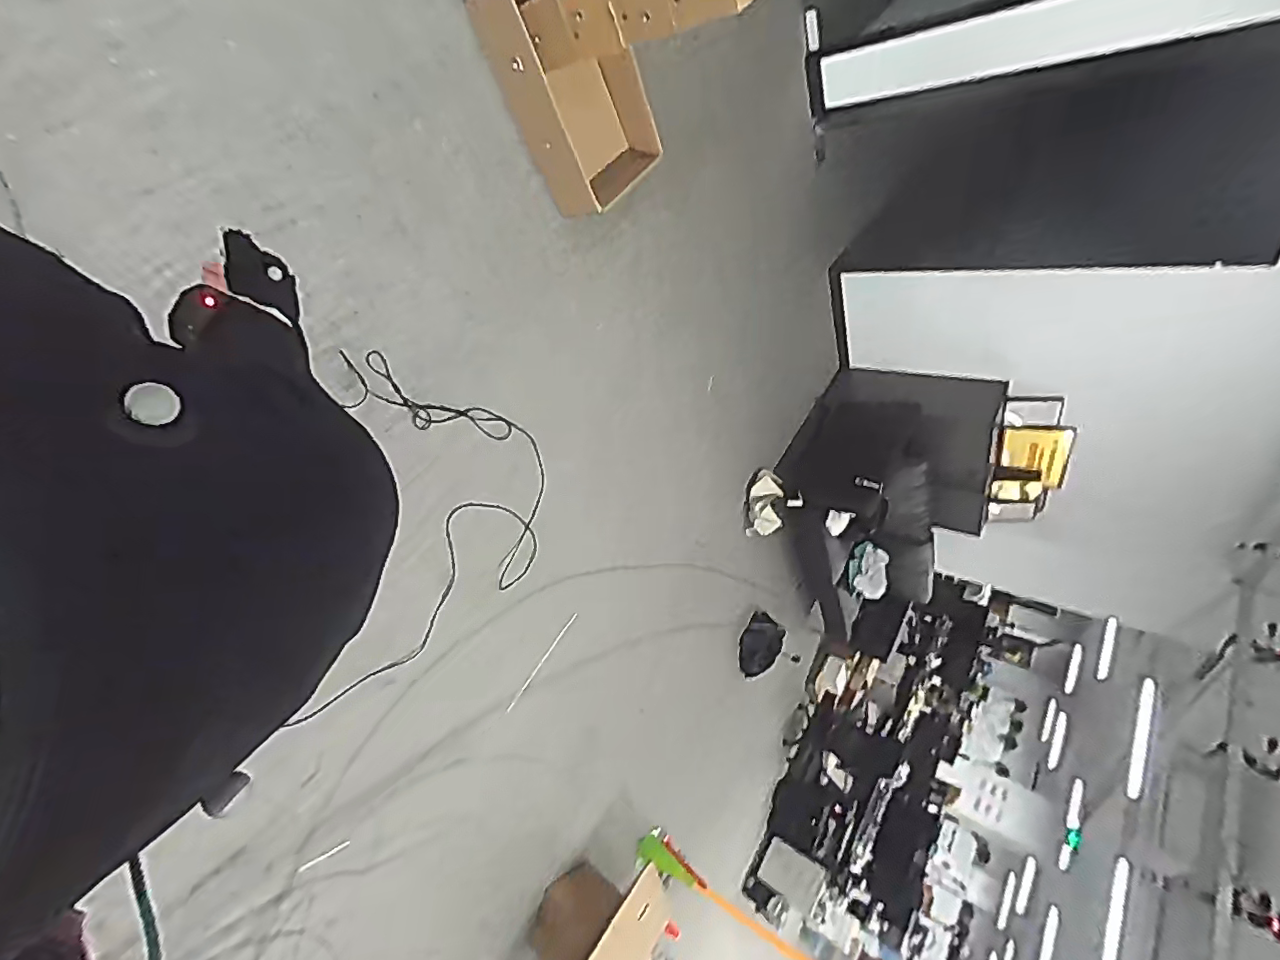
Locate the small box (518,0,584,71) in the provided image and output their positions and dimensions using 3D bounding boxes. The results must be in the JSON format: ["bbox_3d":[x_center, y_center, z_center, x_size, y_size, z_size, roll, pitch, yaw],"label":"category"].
[{"bbox_3d":[-0.210,-1.299,1.531,0.179,0.176,0.168,-54,139,-26],"label":"small box"}]

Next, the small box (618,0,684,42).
[{"bbox_3d":[0.049,-1.232,1.343,0.179,0.176,0.168,-56,142,-24],"label":"small box"}]

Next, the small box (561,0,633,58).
[{"bbox_3d":[-0.081,-1.263,1.437,0.179,0.176,0.168,-54,140,-25],"label":"small box"}]

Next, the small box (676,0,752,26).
[{"bbox_3d":[0.180,-1.196,1.251,0.179,0.176,0.168,-55,142,-23],"label":"small box"}]
